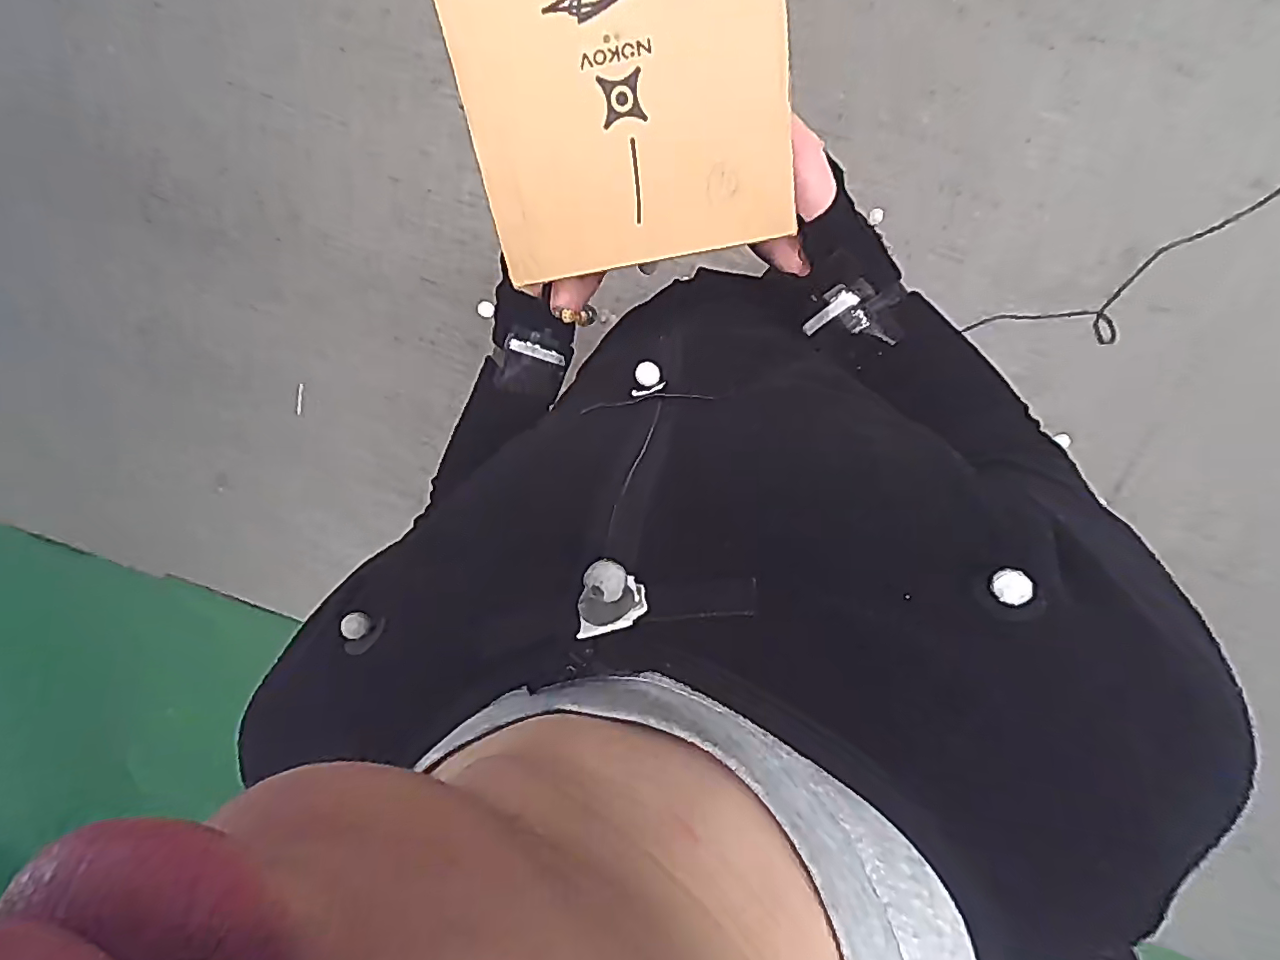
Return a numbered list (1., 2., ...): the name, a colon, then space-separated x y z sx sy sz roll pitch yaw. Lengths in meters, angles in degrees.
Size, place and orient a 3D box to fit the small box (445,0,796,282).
1. small box: -0.004 -0.238 0.343 0.168 0.176 0.179 -8 117 7
